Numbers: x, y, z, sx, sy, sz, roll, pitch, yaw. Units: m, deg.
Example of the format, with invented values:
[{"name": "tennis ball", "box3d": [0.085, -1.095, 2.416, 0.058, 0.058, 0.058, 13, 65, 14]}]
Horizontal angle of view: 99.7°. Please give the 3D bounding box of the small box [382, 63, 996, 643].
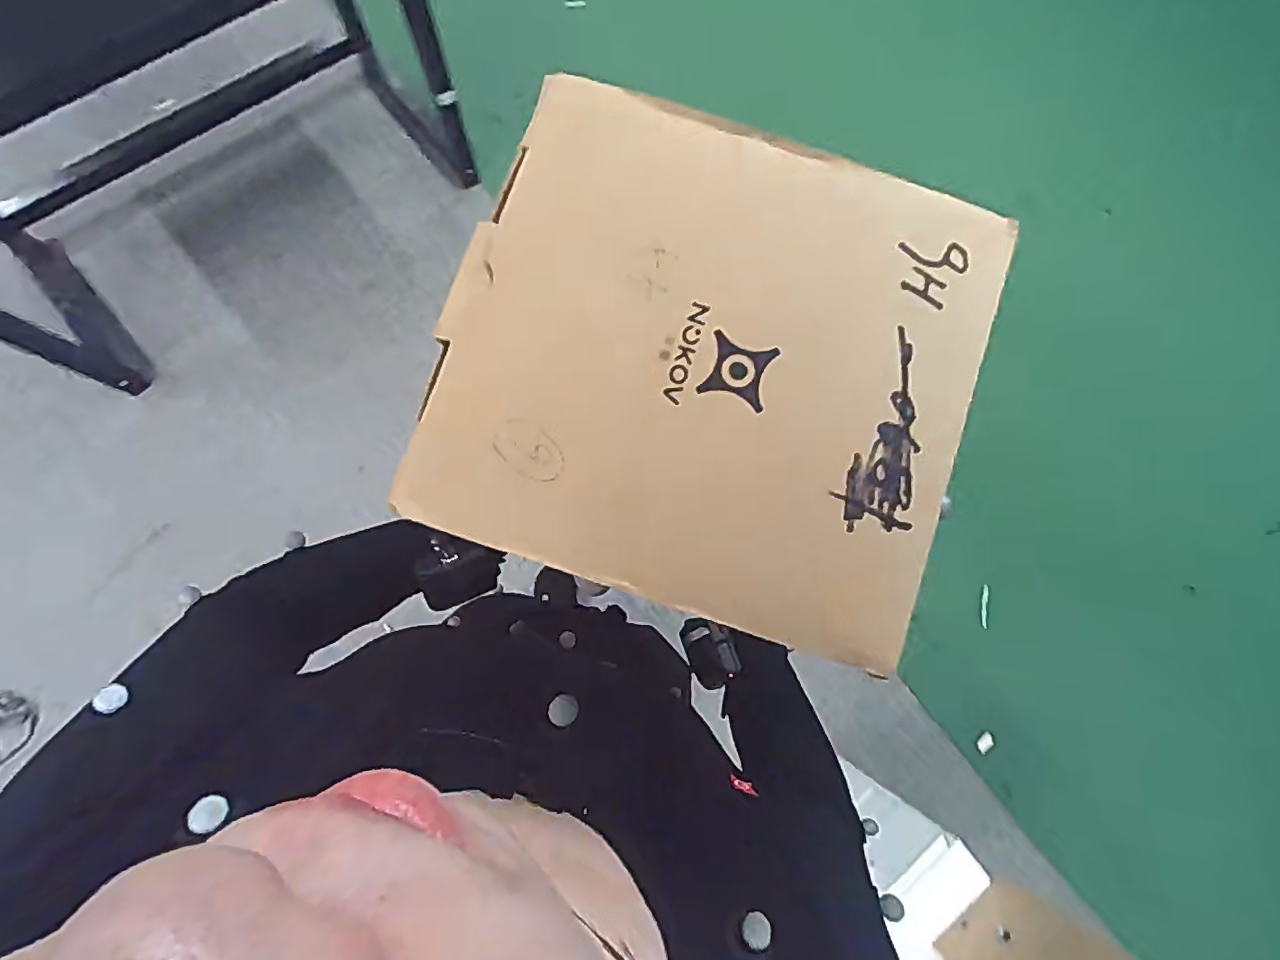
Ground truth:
[{"name": "small box", "box3d": [0.019, -0.040, 0.265, 0.179, 0.176, 0.168, 18, 85, 0]}]
